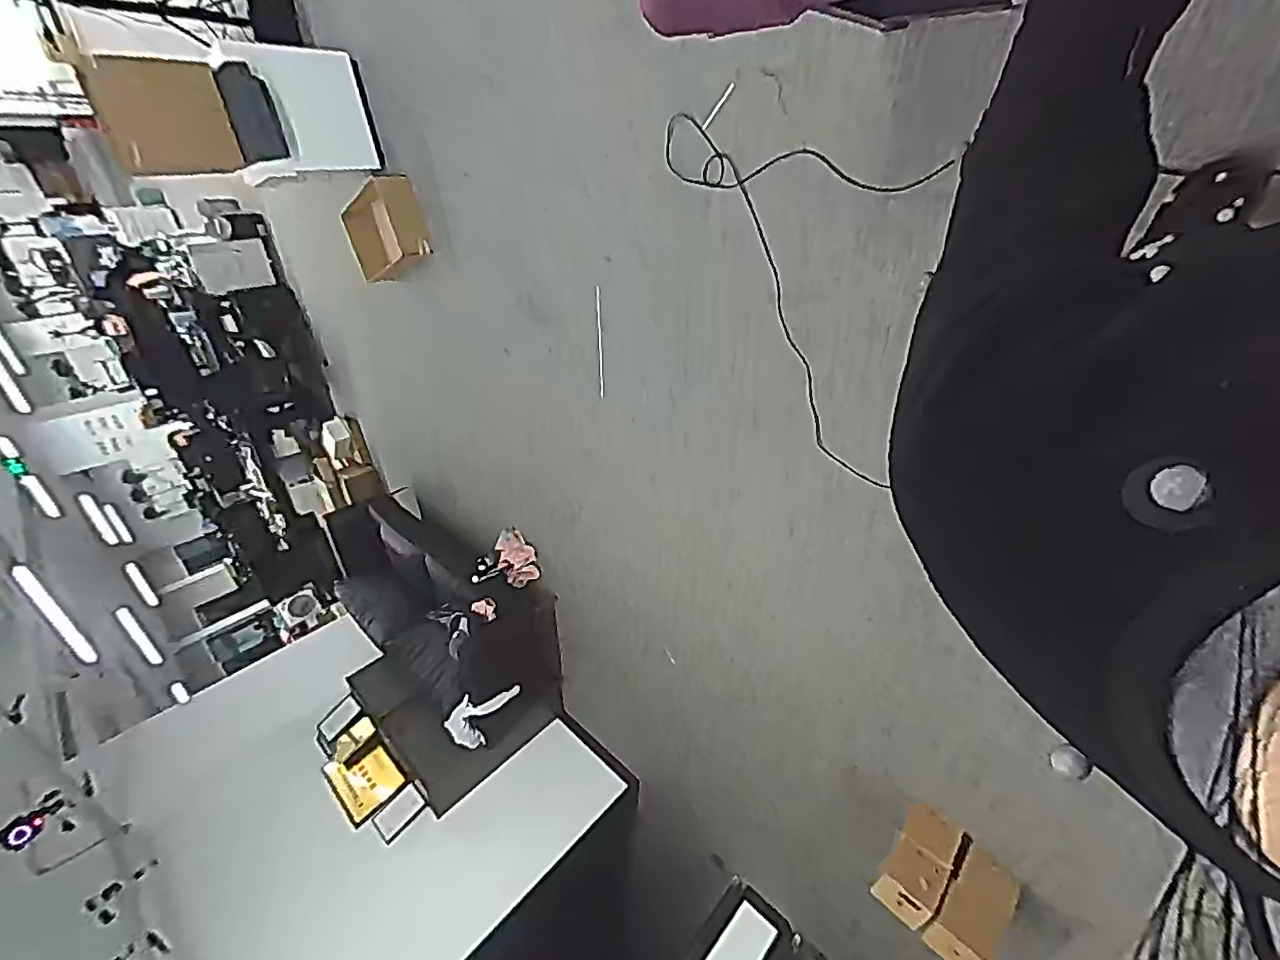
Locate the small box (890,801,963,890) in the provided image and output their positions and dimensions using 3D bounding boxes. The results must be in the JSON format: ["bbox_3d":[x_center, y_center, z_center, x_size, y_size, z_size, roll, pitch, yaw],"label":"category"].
[{"bbox_3d":[1.055,1.337,1.987,0.168,0.176,0.179,27,130,35],"label":"small box"}]
